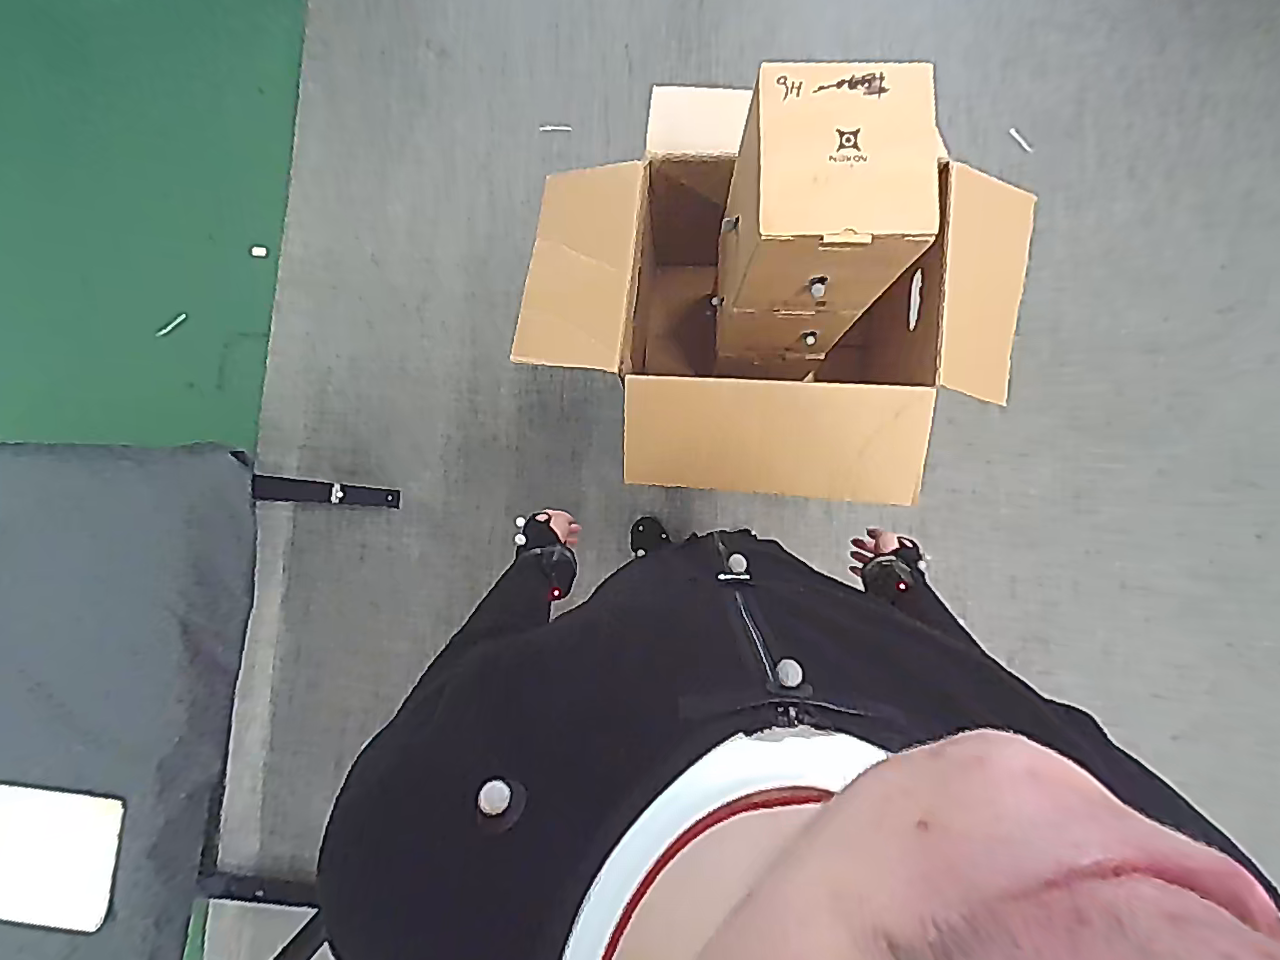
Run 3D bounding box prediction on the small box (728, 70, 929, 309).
[{"bbox_3d":[0.191,-0.300,0.591,0.168,0.176,0.179,1,86,1],"label":"small box"}]
